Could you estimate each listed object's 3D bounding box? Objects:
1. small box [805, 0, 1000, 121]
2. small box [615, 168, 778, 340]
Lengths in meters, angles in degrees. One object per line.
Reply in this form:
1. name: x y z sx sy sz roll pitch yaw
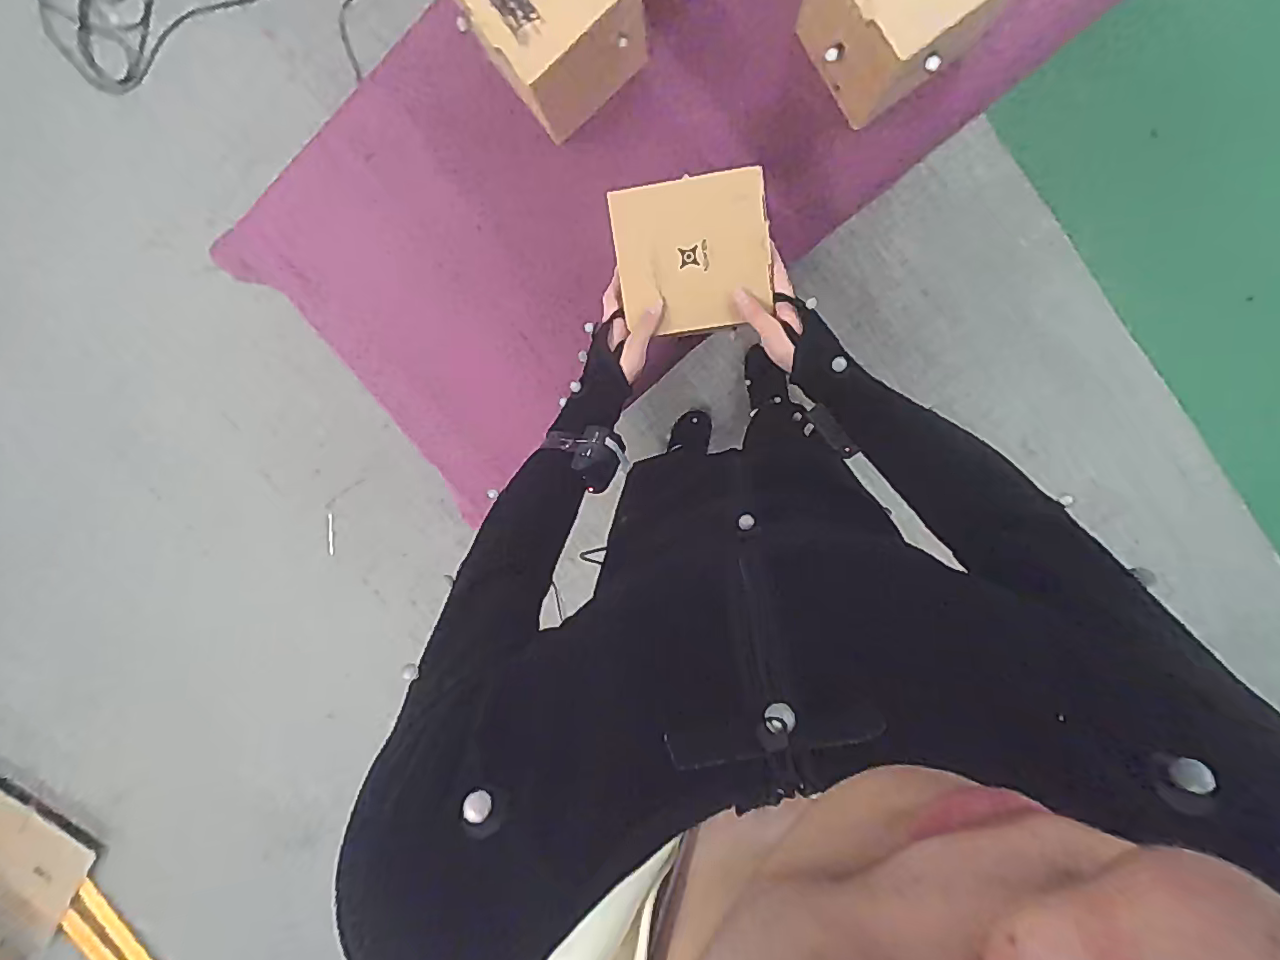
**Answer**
1. small box: 0.322 -0.595 0.664 0.179 0.176 0.168 -33 95 11
2. small box: 0.071 -0.271 0.687 0.179 0.176 0.168 -5 102 7
